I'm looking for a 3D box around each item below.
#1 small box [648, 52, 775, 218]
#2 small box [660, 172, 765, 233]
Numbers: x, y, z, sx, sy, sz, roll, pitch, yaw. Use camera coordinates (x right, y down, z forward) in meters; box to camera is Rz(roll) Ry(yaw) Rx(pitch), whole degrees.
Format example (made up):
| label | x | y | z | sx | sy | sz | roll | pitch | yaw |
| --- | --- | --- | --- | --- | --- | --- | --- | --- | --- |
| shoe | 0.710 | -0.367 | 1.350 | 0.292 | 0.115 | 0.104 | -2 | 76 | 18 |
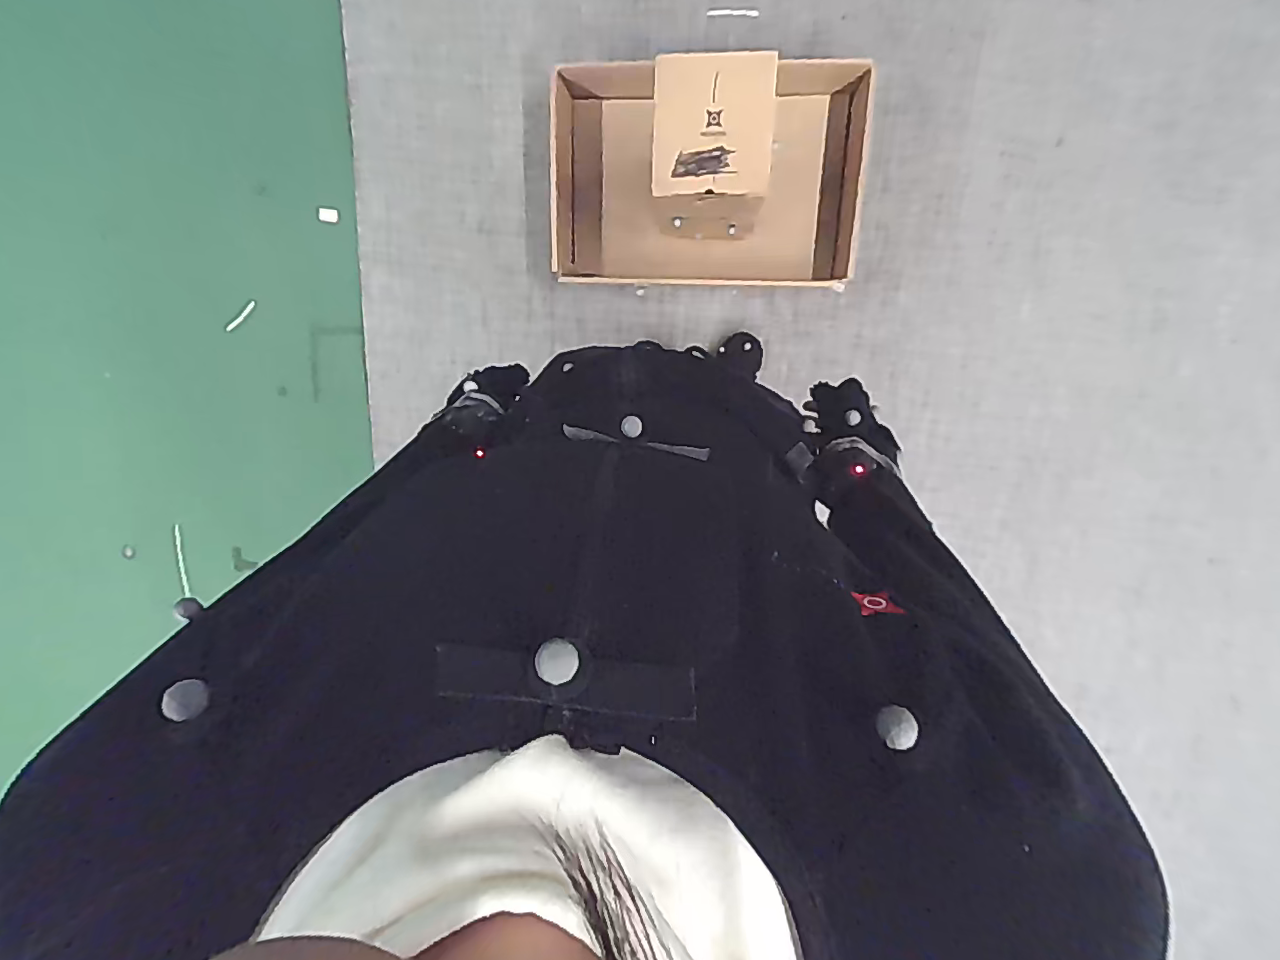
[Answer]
| label | x | y | z | sx | sy | sz | roll | pitch | yaw |
| --- | --- | --- | --- | --- | --- | --- | --- | --- | --- |
| small box | 0.106 | -0.508 | 0.823 | 0.168 | 0.176 | 0.179 | 3 | 104 | 5 |
| small box | 0.125 | -0.545 | 0.965 | 0.179 | 0.176 | 0.168 | 0 | 105 | 6 |
